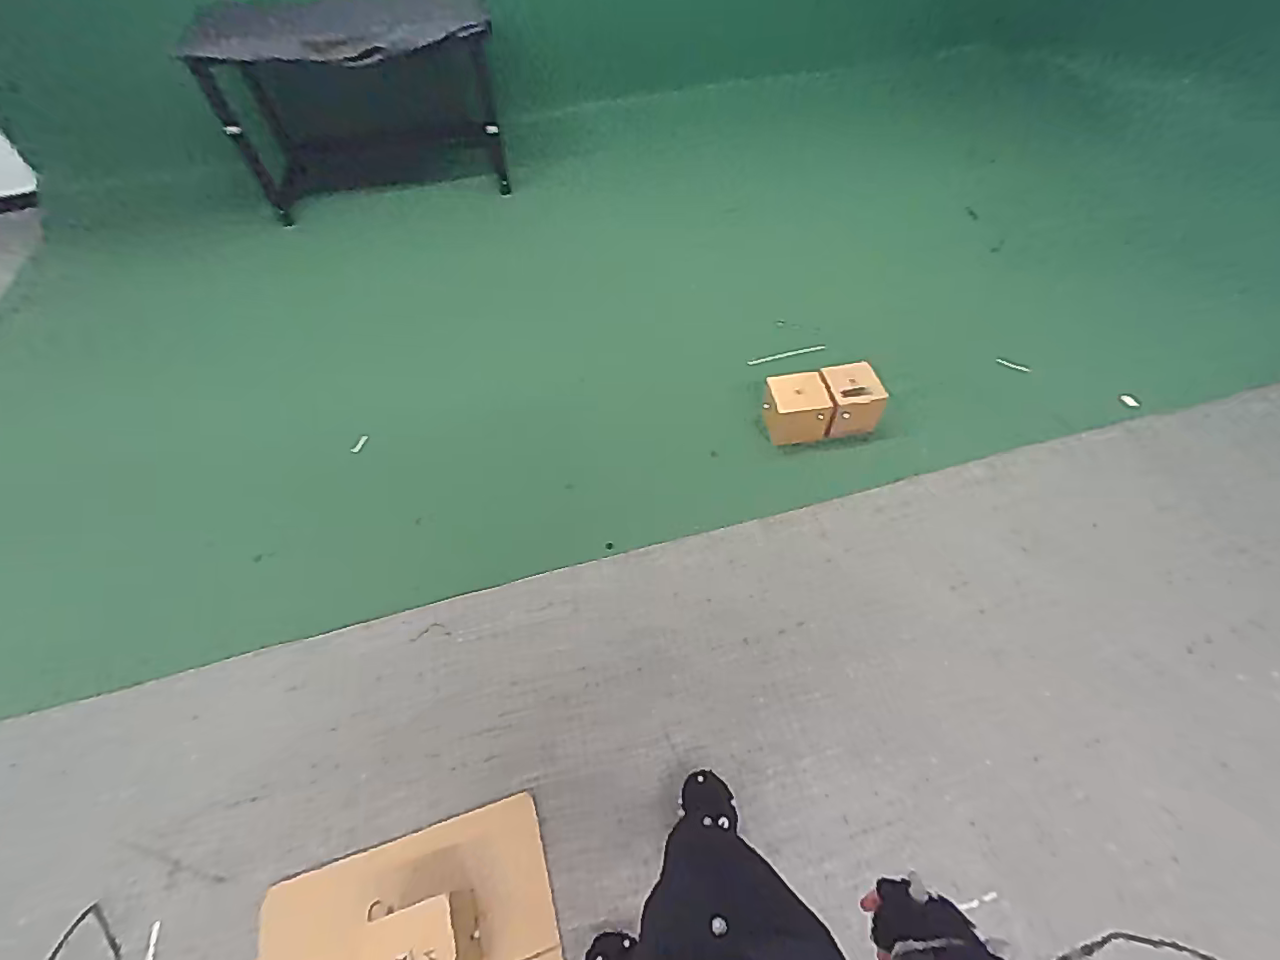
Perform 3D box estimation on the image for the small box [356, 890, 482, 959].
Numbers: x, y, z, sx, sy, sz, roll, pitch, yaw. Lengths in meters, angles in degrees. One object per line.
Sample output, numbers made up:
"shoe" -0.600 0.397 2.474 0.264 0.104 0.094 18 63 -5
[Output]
"small box" -0.420 0.923 1.043 0.179 0.176 0.168 -16 57 -9
